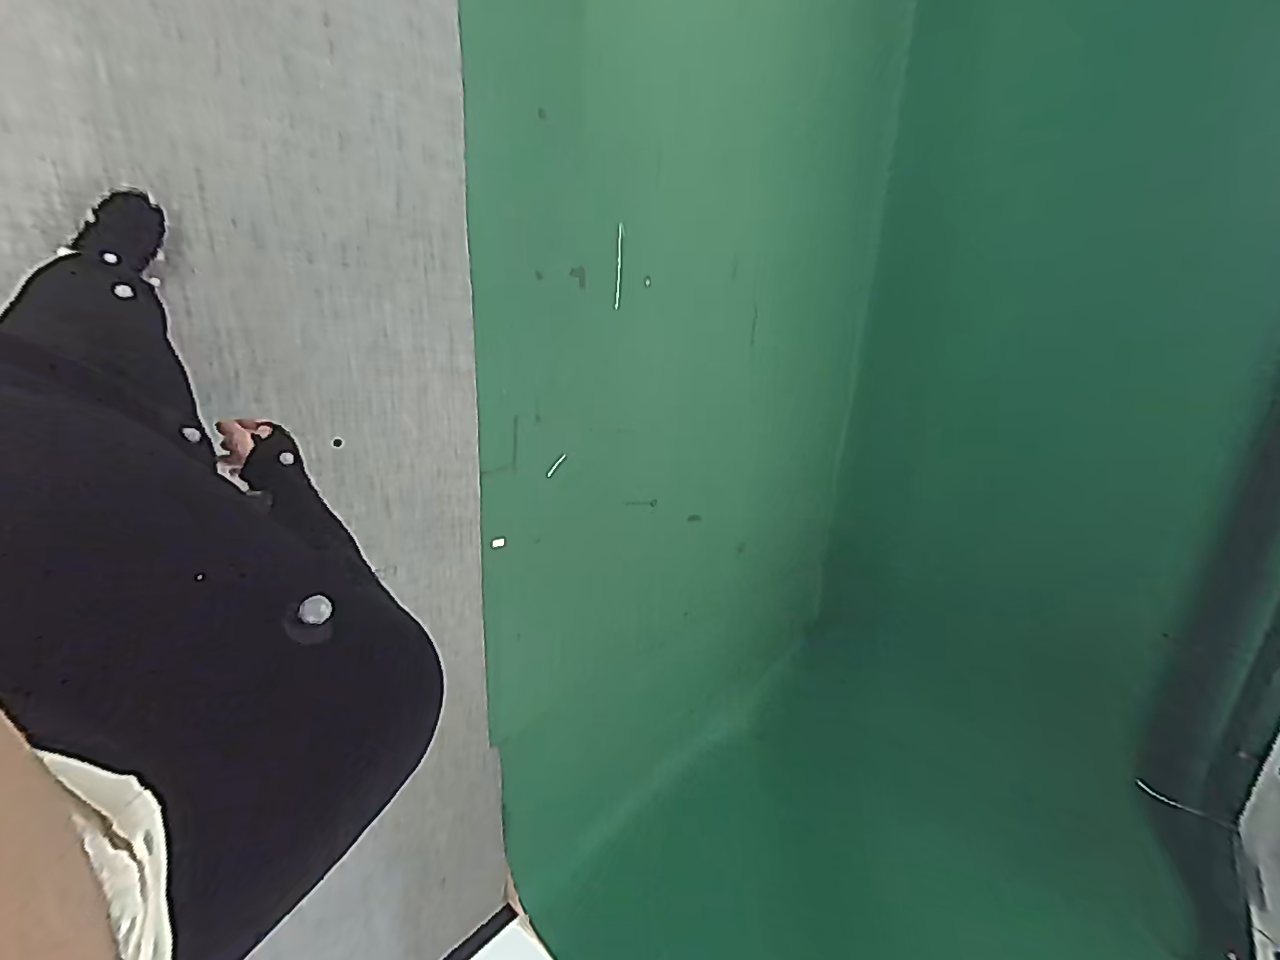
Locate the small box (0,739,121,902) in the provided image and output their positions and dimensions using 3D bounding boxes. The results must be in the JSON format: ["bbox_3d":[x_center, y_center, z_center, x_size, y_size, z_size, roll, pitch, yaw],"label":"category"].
[{"bbox_3d":[-1.119,0.627,1.028,0.168,0.176,0.179,-8,110,-49],"label":"small box"}]
